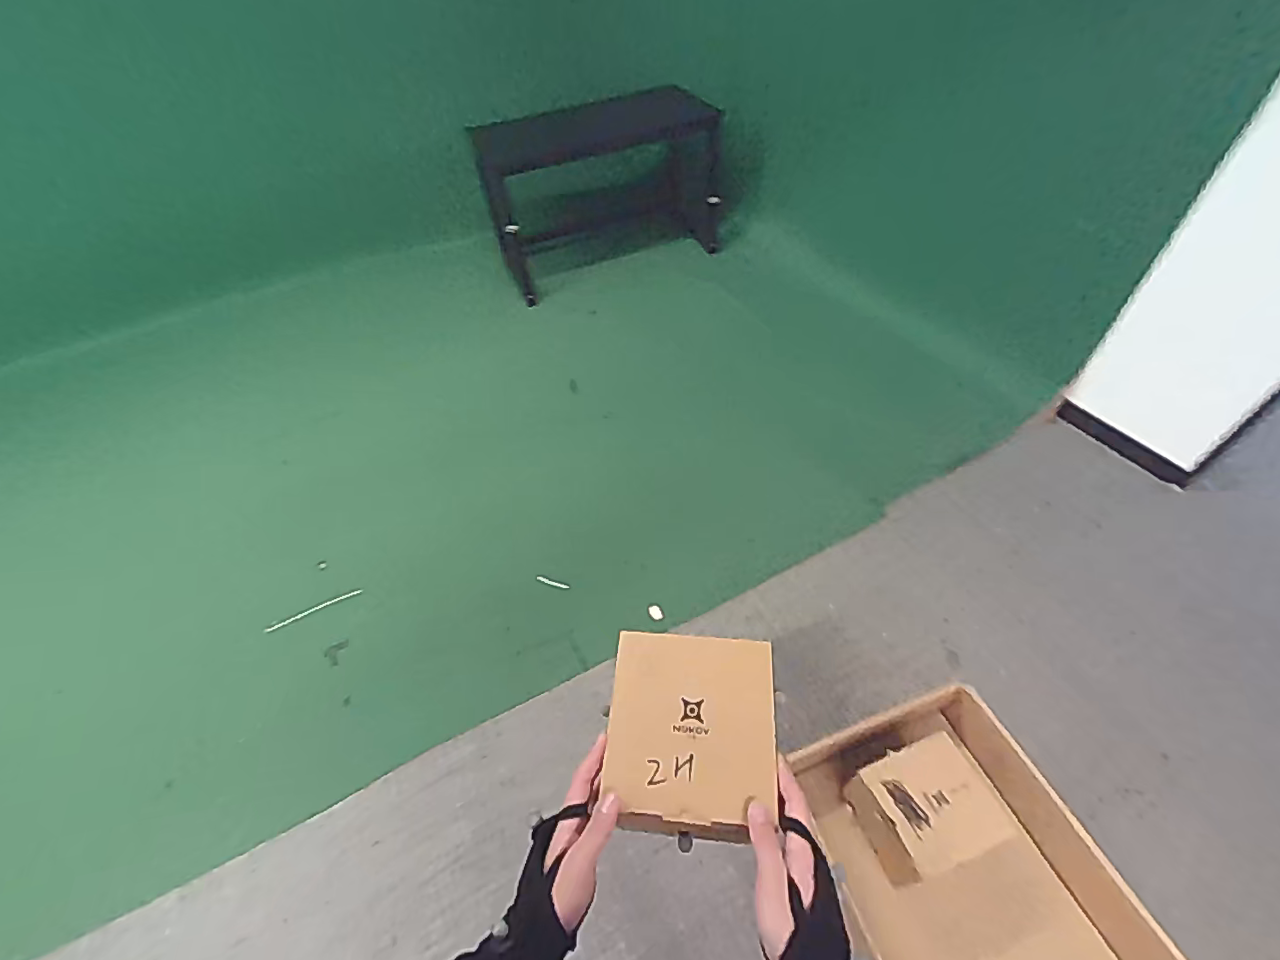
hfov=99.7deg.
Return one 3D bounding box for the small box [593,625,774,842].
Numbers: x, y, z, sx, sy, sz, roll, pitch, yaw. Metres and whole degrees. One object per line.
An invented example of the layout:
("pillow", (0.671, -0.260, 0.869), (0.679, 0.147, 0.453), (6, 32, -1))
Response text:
("small box", (0.051, 0.280, 0.594), (0.168, 0.176, 0.179), (2, 53, 7))
